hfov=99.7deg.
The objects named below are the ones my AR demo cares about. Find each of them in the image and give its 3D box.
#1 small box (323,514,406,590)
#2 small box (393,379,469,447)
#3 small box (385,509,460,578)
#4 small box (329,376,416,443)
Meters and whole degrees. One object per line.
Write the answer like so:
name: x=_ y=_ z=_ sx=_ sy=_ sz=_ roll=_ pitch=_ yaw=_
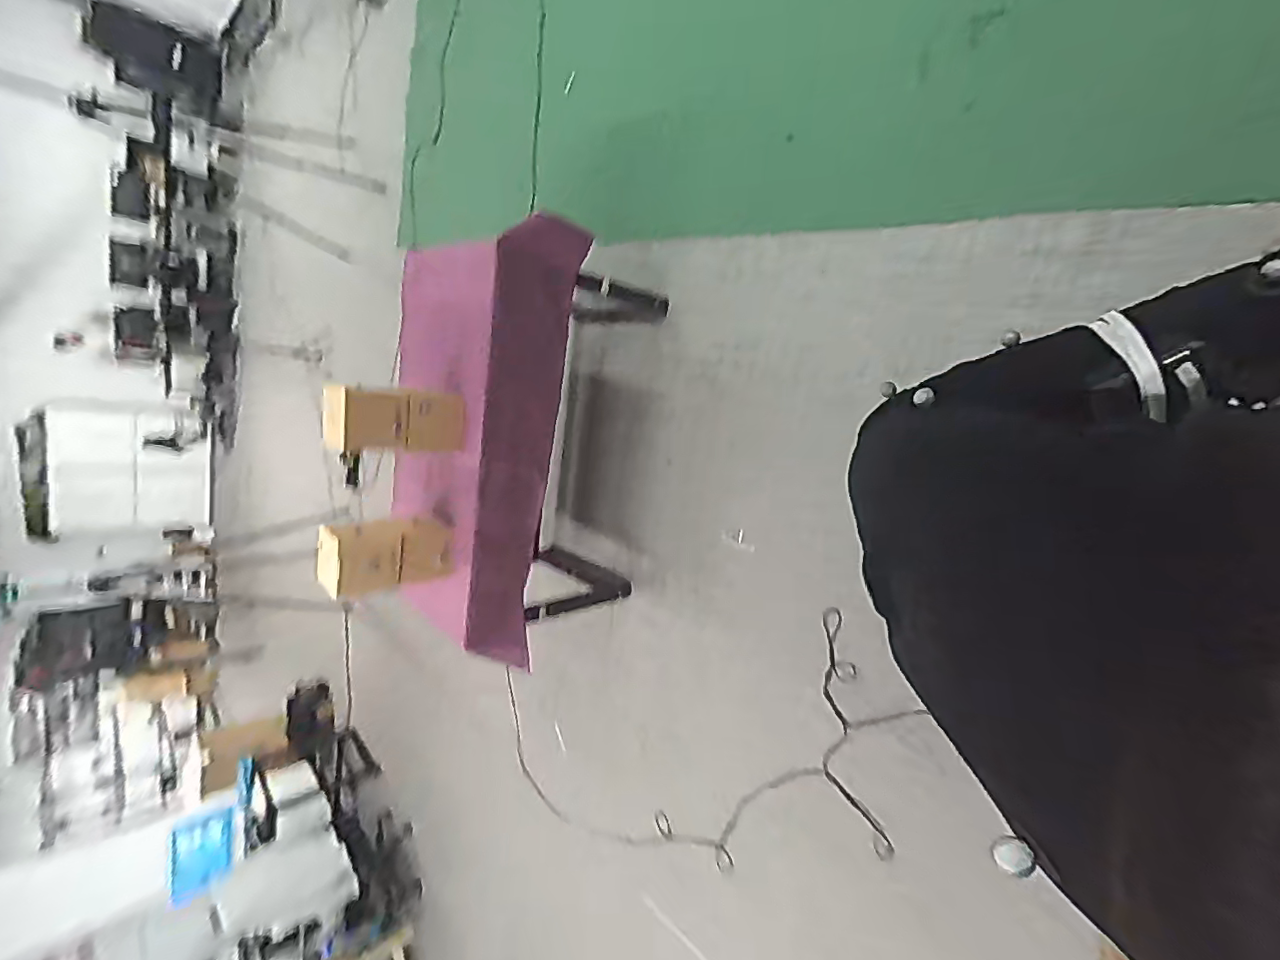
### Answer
small box: x=-0.797 y=0.199 z=1.569 sx=0.179 sy=0.176 sz=0.168 roll=19 pitch=104 yaw=42
small box: x=-0.630 y=-0.199 z=1.622 sx=0.168 sy=0.176 sz=0.179 roll=17 pitch=103 yaw=43
small box: x=-0.688 y=0.190 z=1.691 sx=0.179 sy=0.176 sz=0.168 roll=18 pitch=104 yaw=42
small box: x=-0.747 y=-0.195 z=1.507 sx=0.179 sy=0.176 sz=0.168 roll=15 pitch=102 yaw=43
